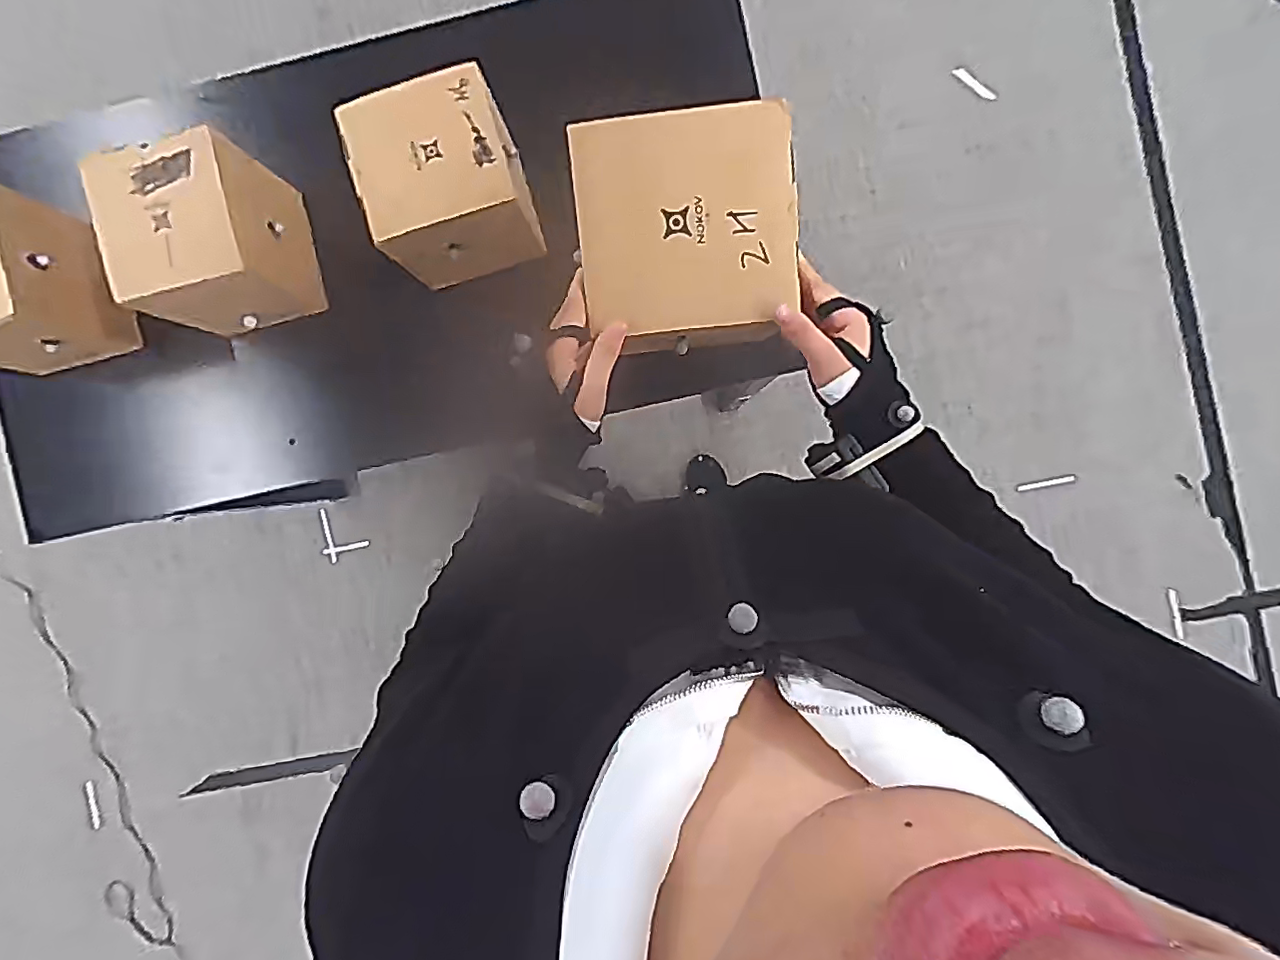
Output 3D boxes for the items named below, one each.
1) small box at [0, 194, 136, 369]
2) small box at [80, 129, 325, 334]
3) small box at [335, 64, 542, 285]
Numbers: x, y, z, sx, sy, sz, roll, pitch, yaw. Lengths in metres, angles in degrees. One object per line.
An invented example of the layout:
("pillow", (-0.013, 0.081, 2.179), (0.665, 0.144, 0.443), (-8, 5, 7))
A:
("small box", (-0.840, -0.258, 0.727), (0.168, 0.176, 0.179), (-15, 90, 1))
("small box", (-0.559, -0.312, 0.715), (0.168, 0.176, 0.179), (-13, 92, 2))
("small box", (-0.247, -0.377, 0.703), (0.179, 0.176, 0.168), (-17, 91, 3))
